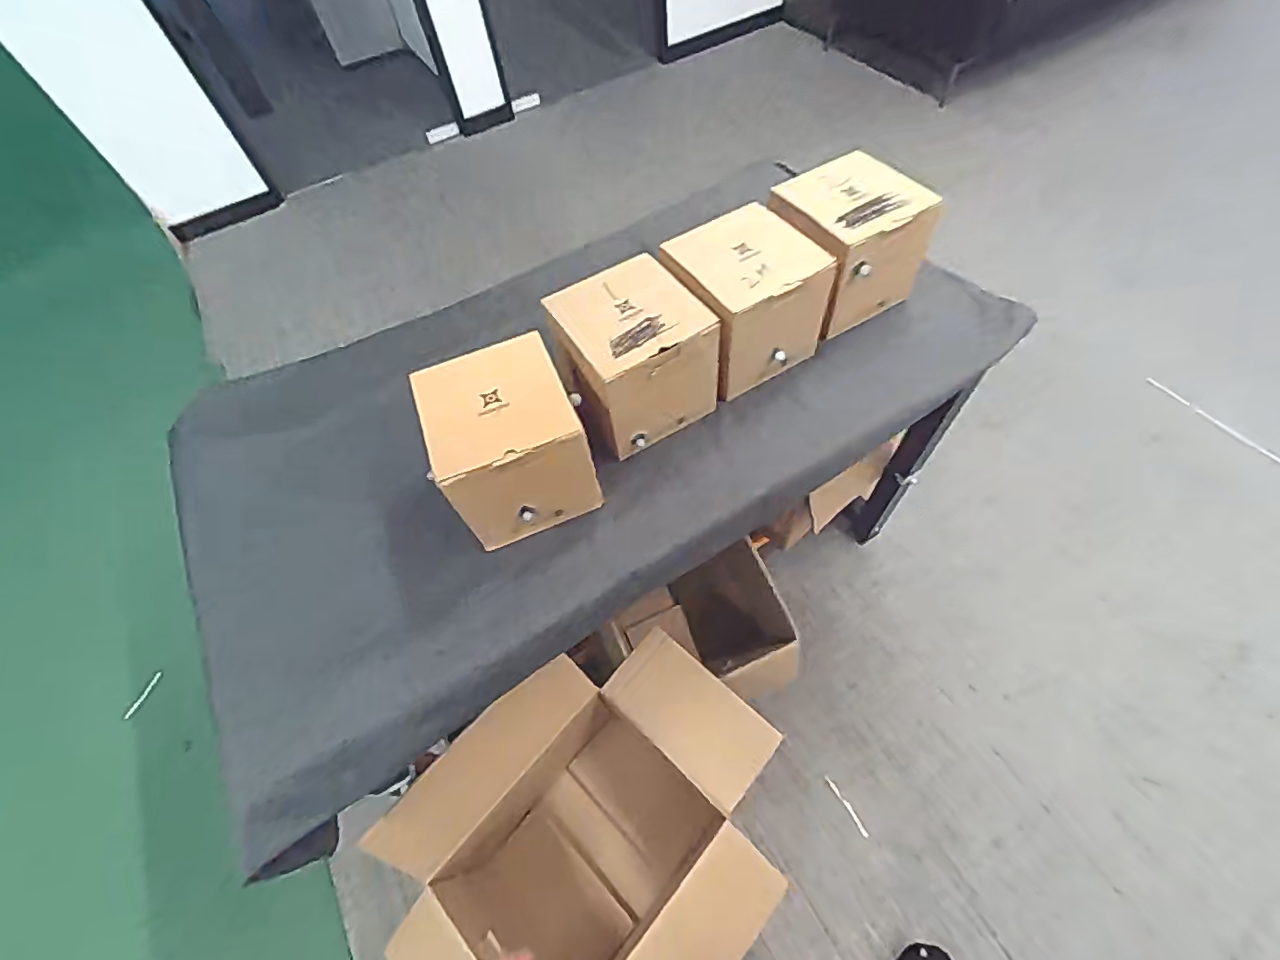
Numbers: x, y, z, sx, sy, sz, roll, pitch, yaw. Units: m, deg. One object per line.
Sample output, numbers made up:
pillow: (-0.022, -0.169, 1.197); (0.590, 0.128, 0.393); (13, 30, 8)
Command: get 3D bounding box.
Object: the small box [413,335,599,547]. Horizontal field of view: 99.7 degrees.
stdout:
small box: (-0.163, -0.045, 0.687); (0.168, 0.176, 0.179); (-22, 59, -8)
